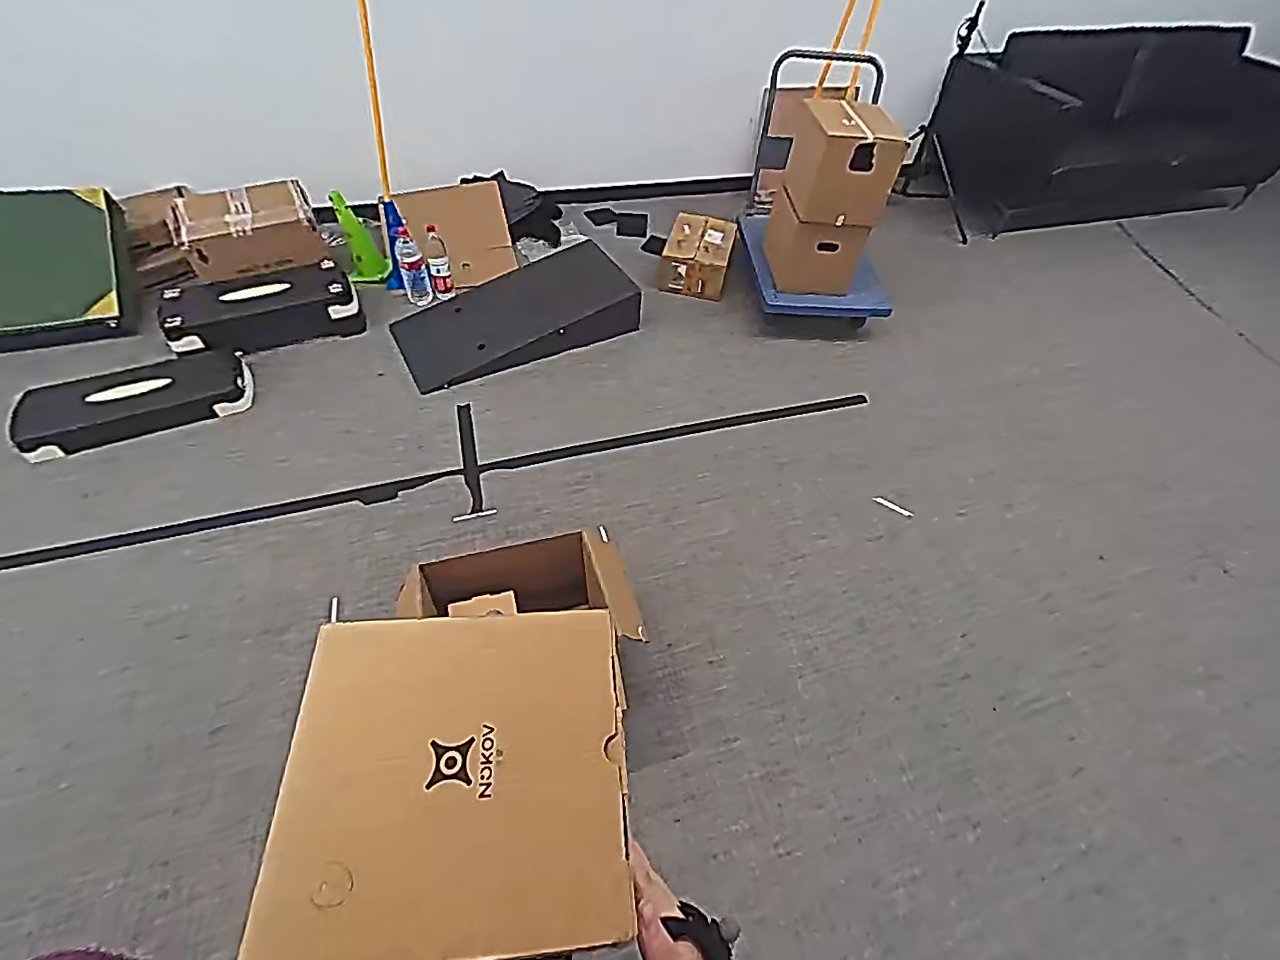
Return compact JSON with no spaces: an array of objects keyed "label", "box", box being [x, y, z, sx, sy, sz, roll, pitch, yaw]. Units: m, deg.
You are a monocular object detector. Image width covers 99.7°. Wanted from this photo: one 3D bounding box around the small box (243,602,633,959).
[{"label":"small box","box":[-0.103,0.194,0.356,0.179,0.176,0.168,-1,54,-9]}]
